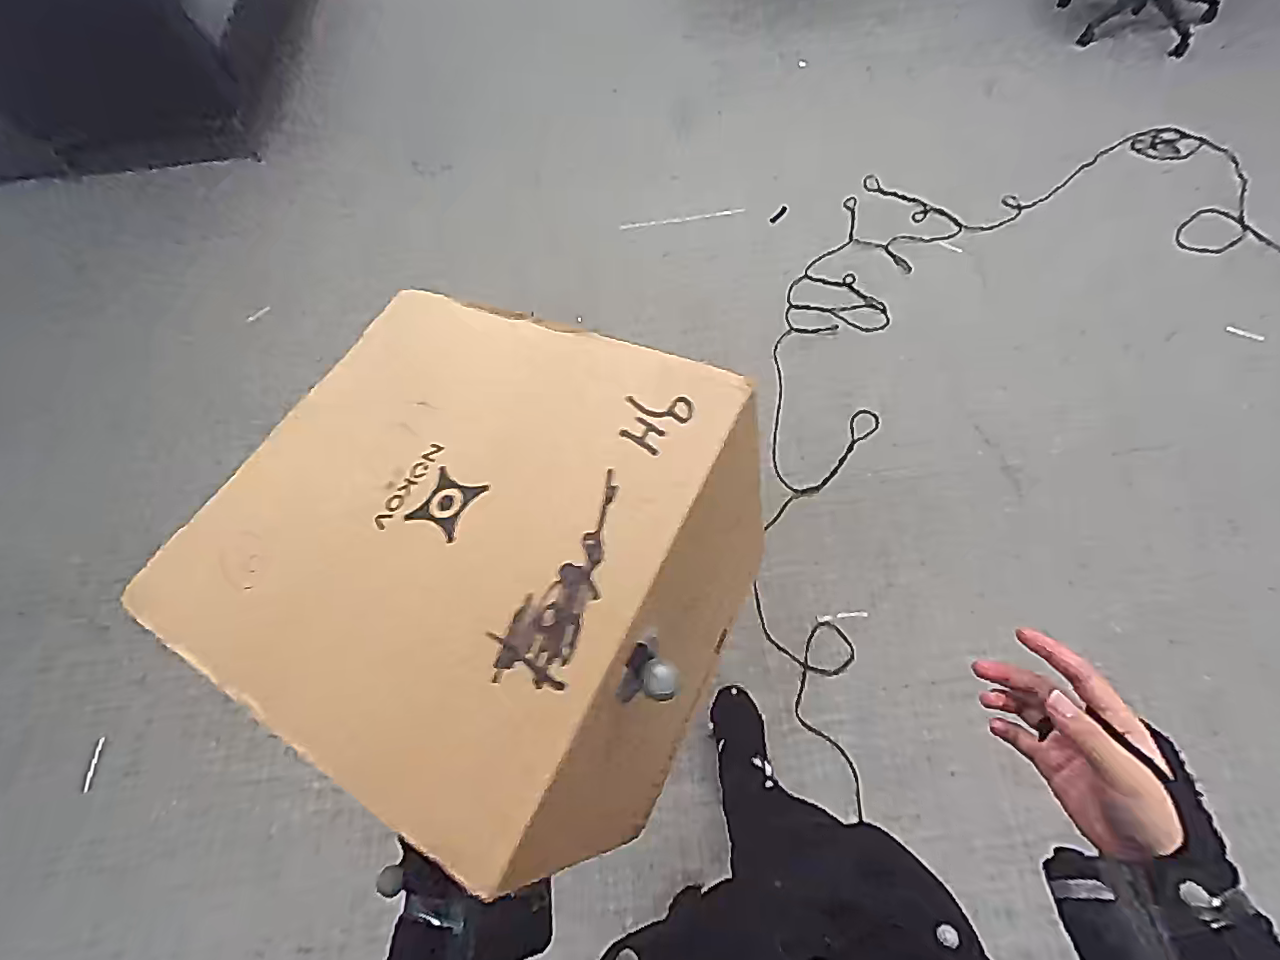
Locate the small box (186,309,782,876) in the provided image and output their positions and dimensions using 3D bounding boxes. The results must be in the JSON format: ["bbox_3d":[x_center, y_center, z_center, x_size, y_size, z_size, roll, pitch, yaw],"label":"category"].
[{"bbox_3d":[-0.044,0.049,0.264,0.179,0.176,0.168,20,68,23],"label":"small box"}]
